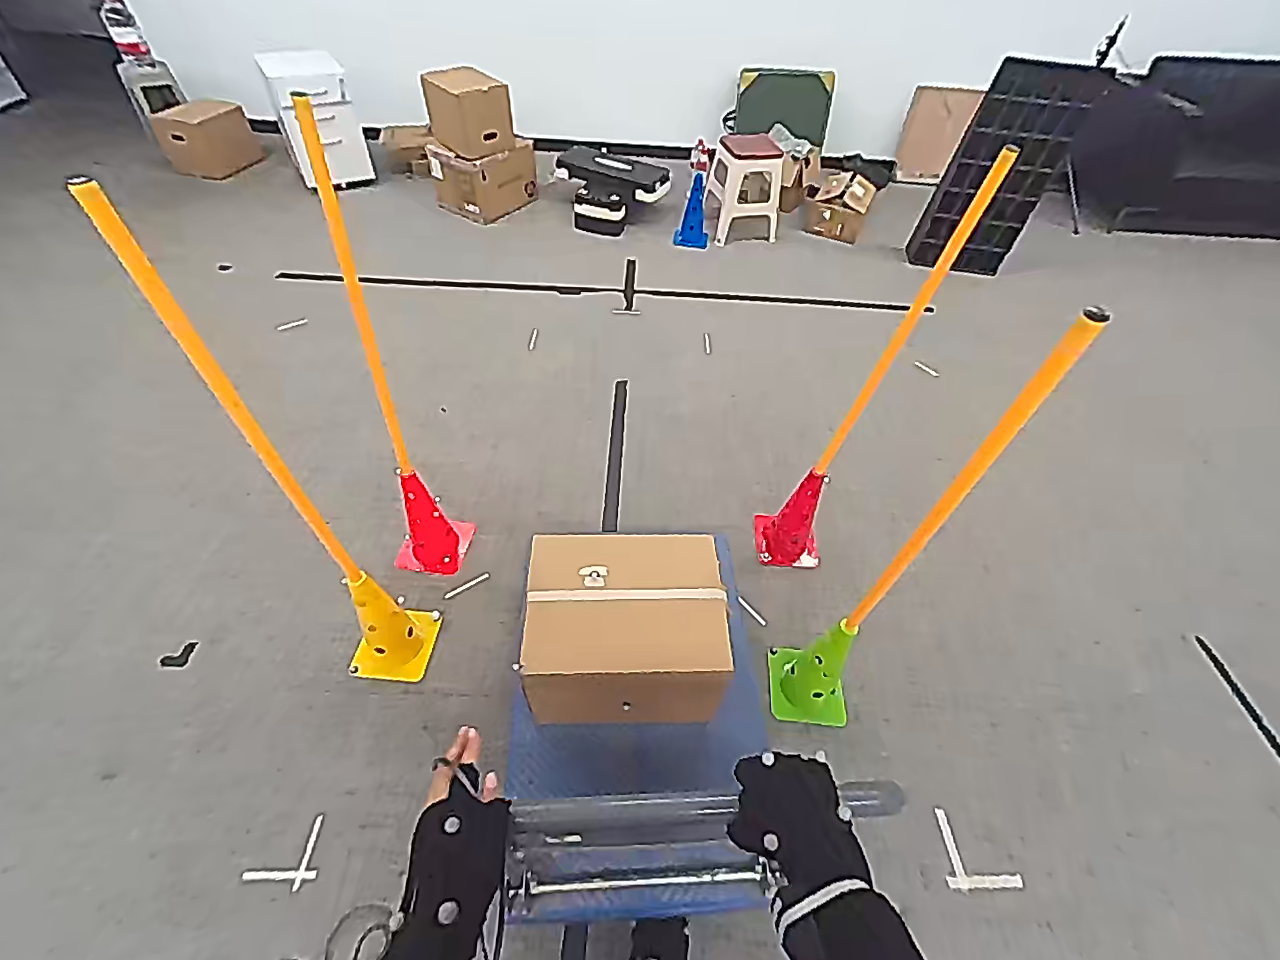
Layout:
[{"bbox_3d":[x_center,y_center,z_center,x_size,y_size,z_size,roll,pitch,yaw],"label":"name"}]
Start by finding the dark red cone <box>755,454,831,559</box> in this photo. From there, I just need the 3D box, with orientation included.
[{"bbox_3d":[0.501,0.068,1.666,0.201,0.394,0.202,5,50,-3],"label":"dark red cone"}]

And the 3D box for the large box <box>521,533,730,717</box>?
[{"bbox_3d":[-0.035,0.333,1.228,0.408,0.320,0.320,0,50,-3],"label":"large box"}]

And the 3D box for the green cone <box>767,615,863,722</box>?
[{"bbox_3d":[0.467,0.445,1.362,0.202,0.368,0.200,7,49,0],"label":"green cone"}]

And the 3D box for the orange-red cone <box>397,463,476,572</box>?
[{"bbox_3d":[-0.630,0.081,1.591,0.198,0.360,0.199,10,48,3],"label":"orange-red cone"}]
